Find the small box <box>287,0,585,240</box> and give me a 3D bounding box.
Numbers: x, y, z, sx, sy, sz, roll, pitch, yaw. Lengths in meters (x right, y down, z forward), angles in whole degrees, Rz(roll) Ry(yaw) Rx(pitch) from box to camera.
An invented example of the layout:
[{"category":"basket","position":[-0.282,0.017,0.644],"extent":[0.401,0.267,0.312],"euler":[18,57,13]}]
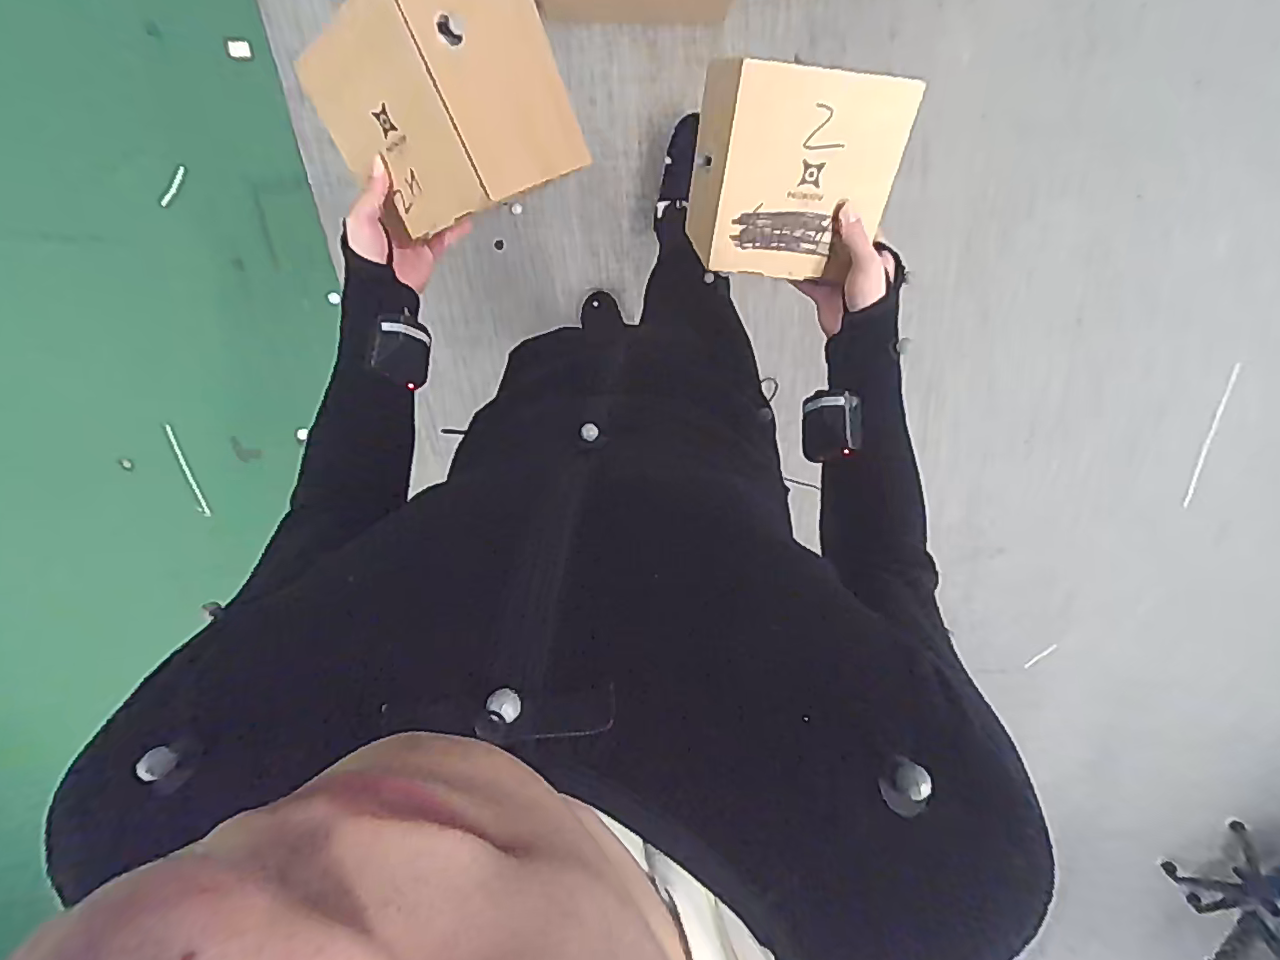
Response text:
[{"category":"small box","position":[-0.186,-0.366,0.531],"extent":[0.168,0.176,0.179],"euler":[1,127,37]}]
